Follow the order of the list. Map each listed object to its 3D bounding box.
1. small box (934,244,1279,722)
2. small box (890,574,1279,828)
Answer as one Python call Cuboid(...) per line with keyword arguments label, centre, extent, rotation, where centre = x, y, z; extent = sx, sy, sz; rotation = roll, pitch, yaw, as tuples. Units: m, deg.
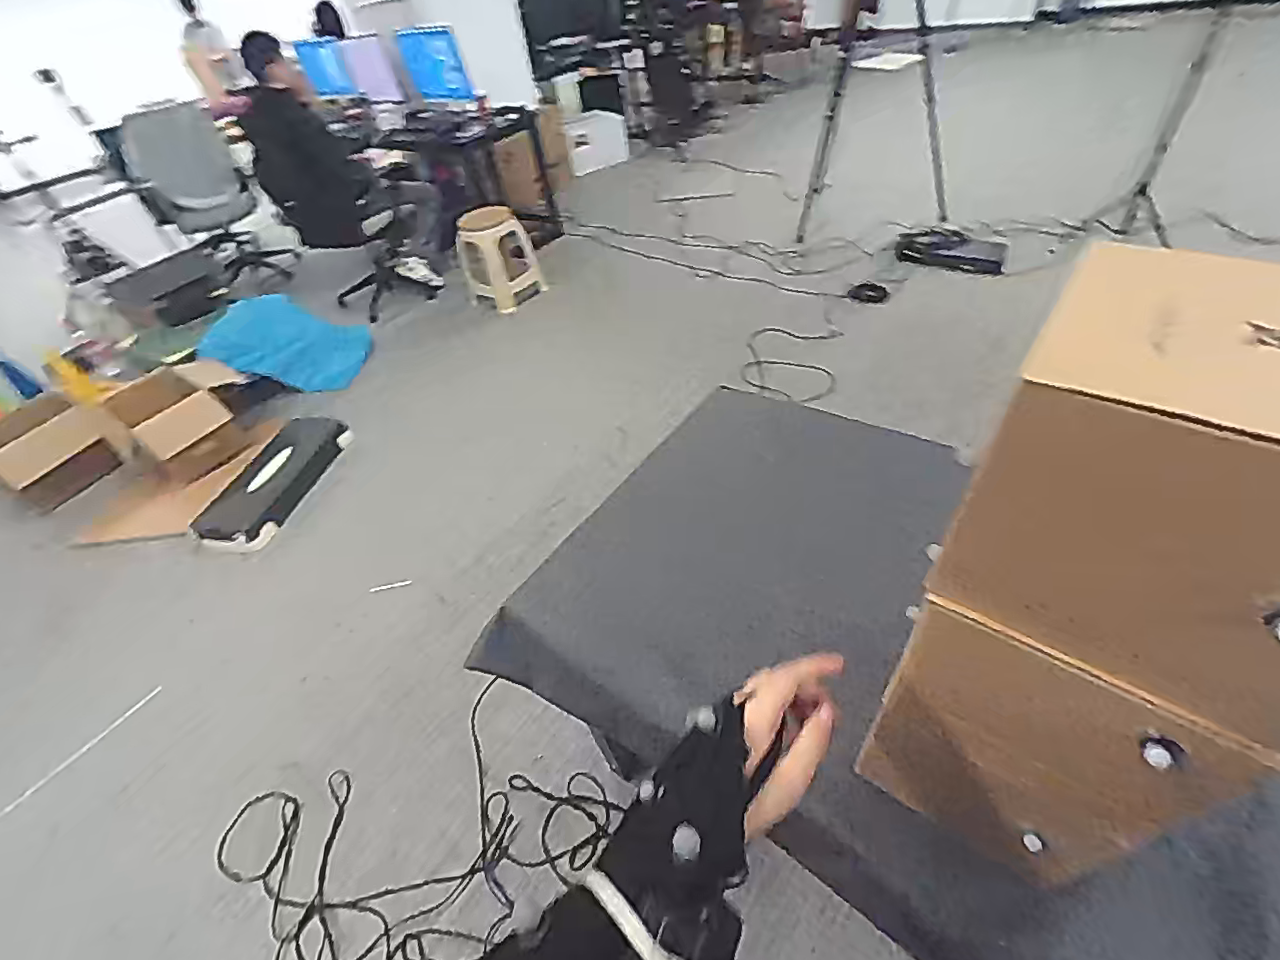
Cuboid(label="small box", centre=(0.293, -0.001, 0.292), extent=(0.179, 0.176, 0.168), rotation=(25, 53, 31))
Cuboid(label="small box", centre=(0.312, 0.117, 0.402), extent=(0.179, 0.176, 0.168), rotation=(26, 54, 30))
